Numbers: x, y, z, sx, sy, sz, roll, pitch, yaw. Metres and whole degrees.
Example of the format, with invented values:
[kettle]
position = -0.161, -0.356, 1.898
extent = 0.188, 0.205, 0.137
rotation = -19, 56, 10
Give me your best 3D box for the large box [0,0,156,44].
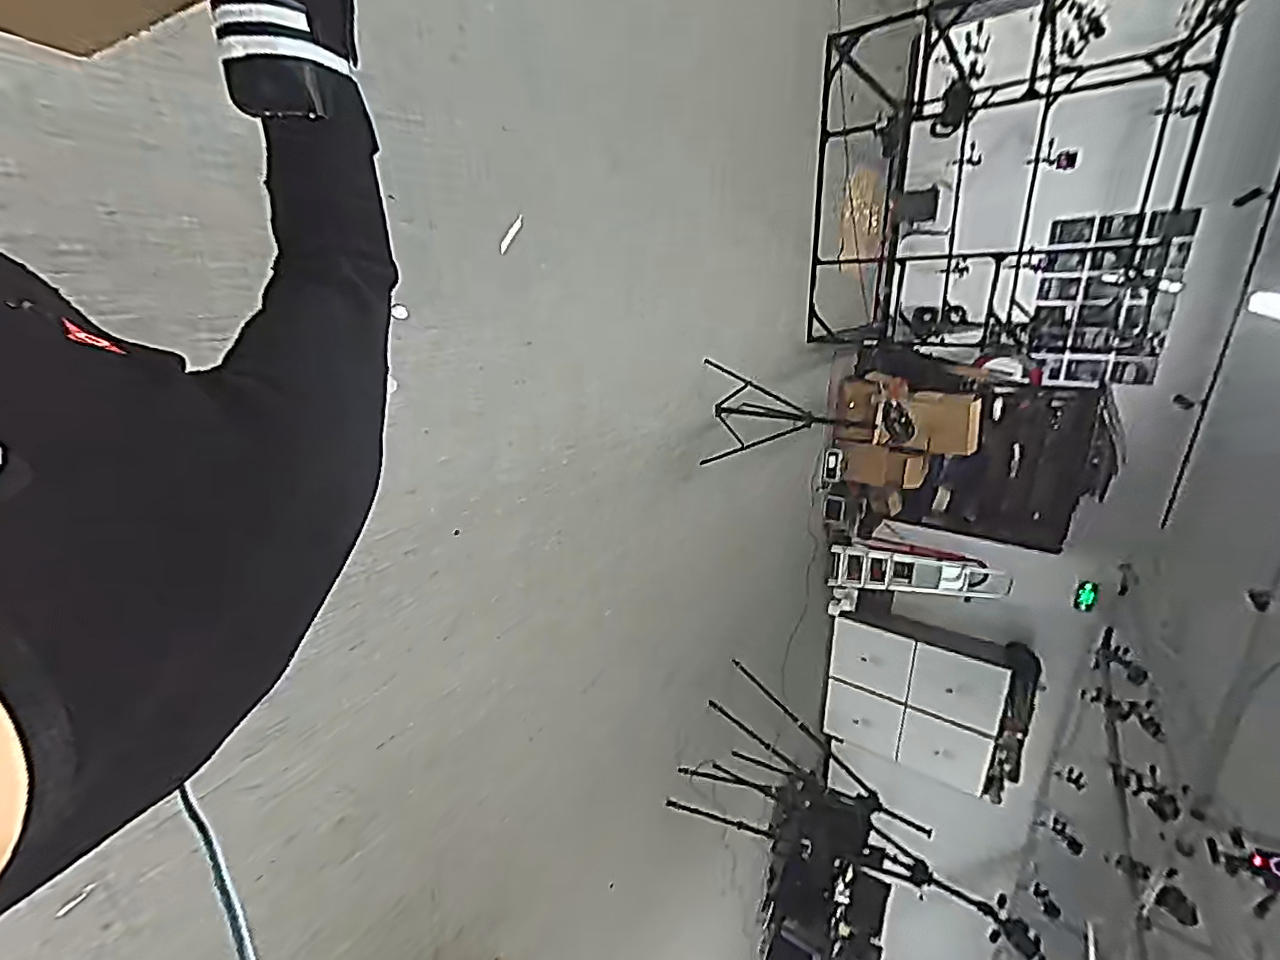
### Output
[large box]
position = -0.479, -0.462, 0.212
extent = 0.408, 0.320, 0.320
rotation = -18, 120, -54
